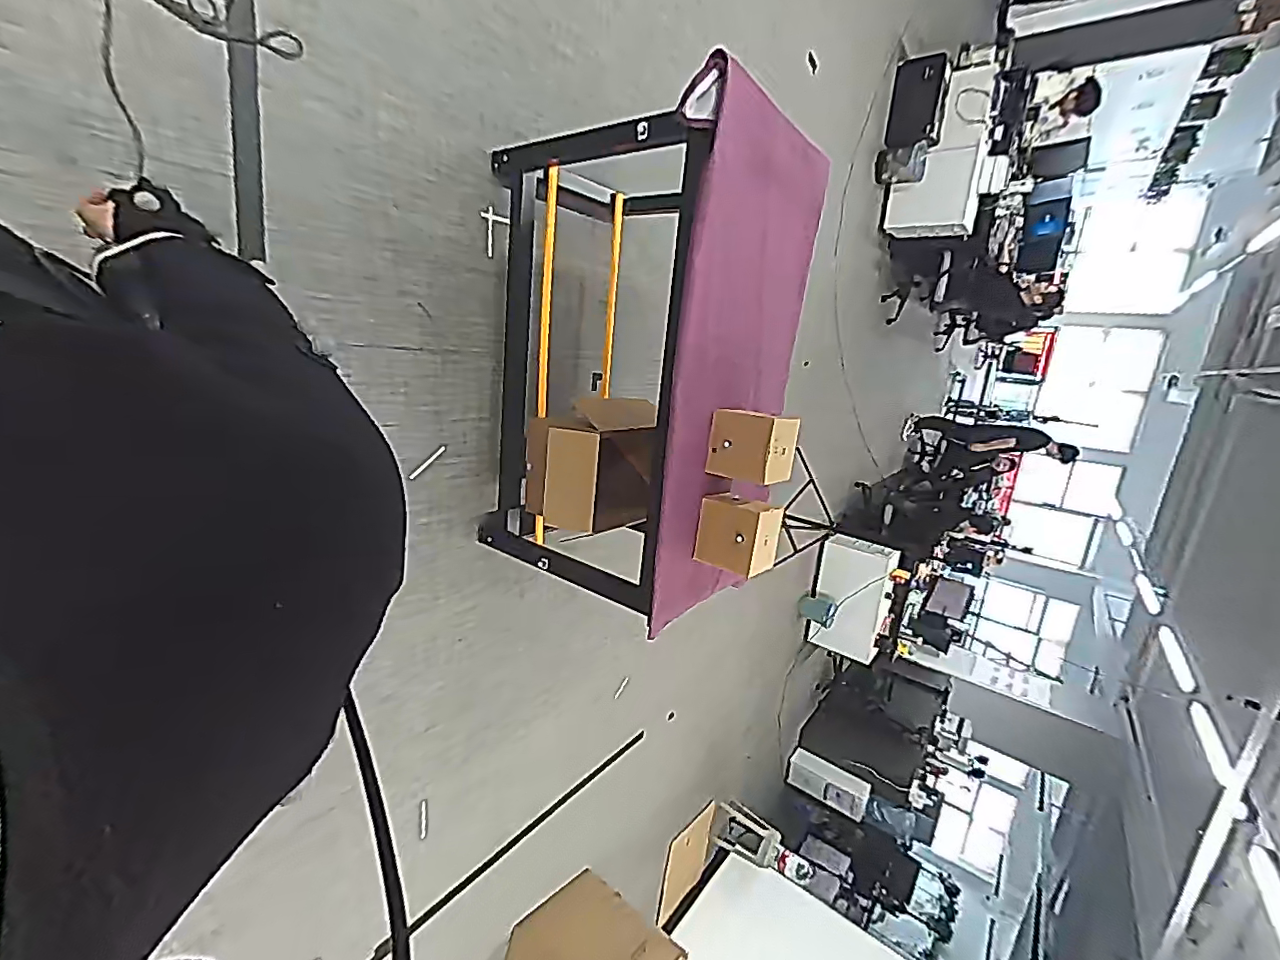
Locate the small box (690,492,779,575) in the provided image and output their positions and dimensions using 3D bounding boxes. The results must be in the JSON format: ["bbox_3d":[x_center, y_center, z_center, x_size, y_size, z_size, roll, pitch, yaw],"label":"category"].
[{"bbox_3d":[0.253,0.139,1.465,0.168,0.176,0.179,-5,106,-55],"label":"small box"}]

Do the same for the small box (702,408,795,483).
[{"bbox_3d":[0.284,-0.095,1.416,0.179,0.176,0.168,-8,108,-53],"label":"small box"}]
